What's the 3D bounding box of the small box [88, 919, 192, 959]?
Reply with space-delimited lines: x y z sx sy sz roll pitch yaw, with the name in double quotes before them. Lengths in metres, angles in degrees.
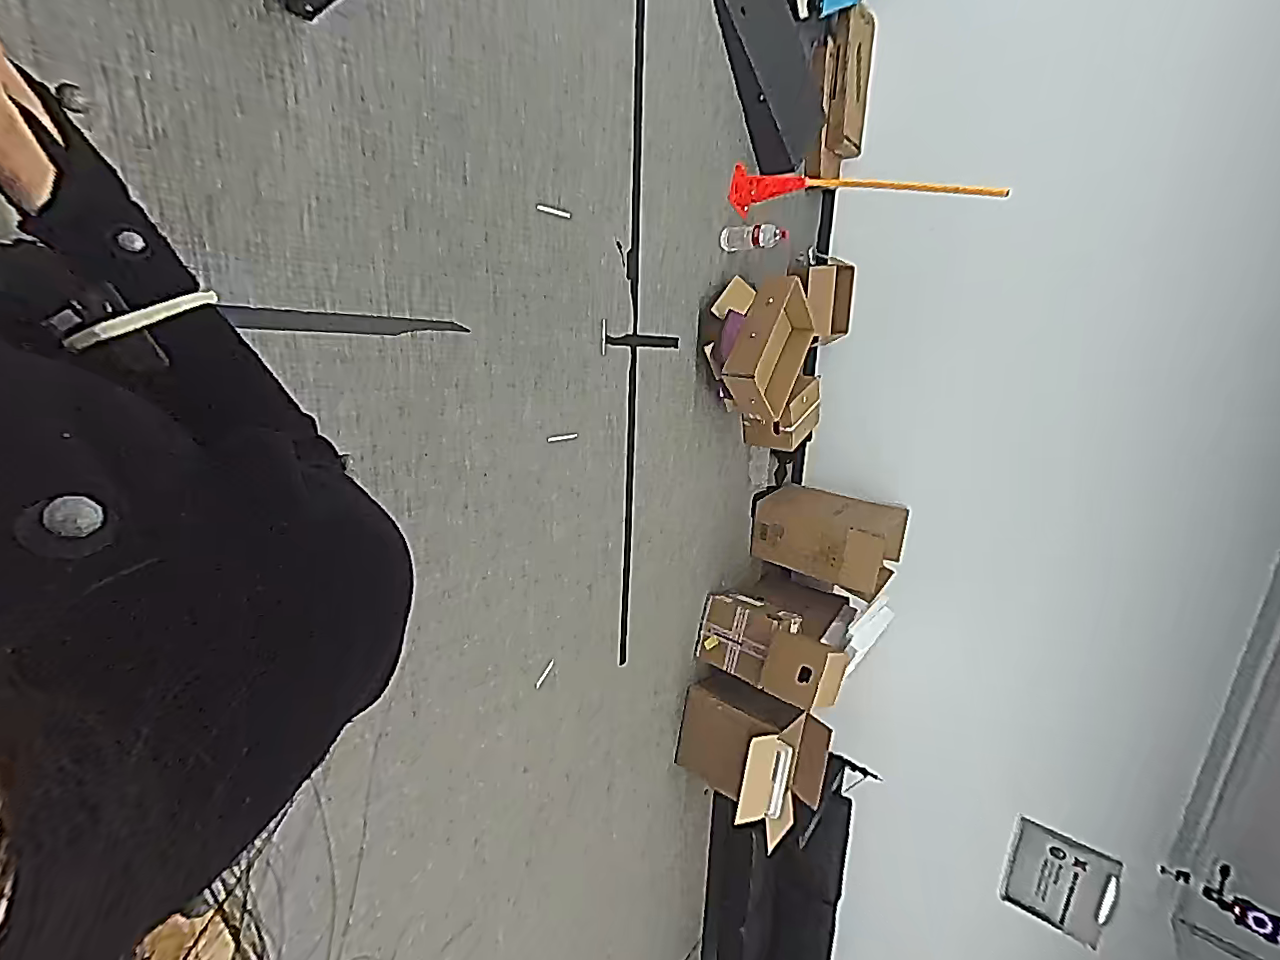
"small box" -1.164 1.177 1.240 0.179 0.176 0.168 -5 104 -54
